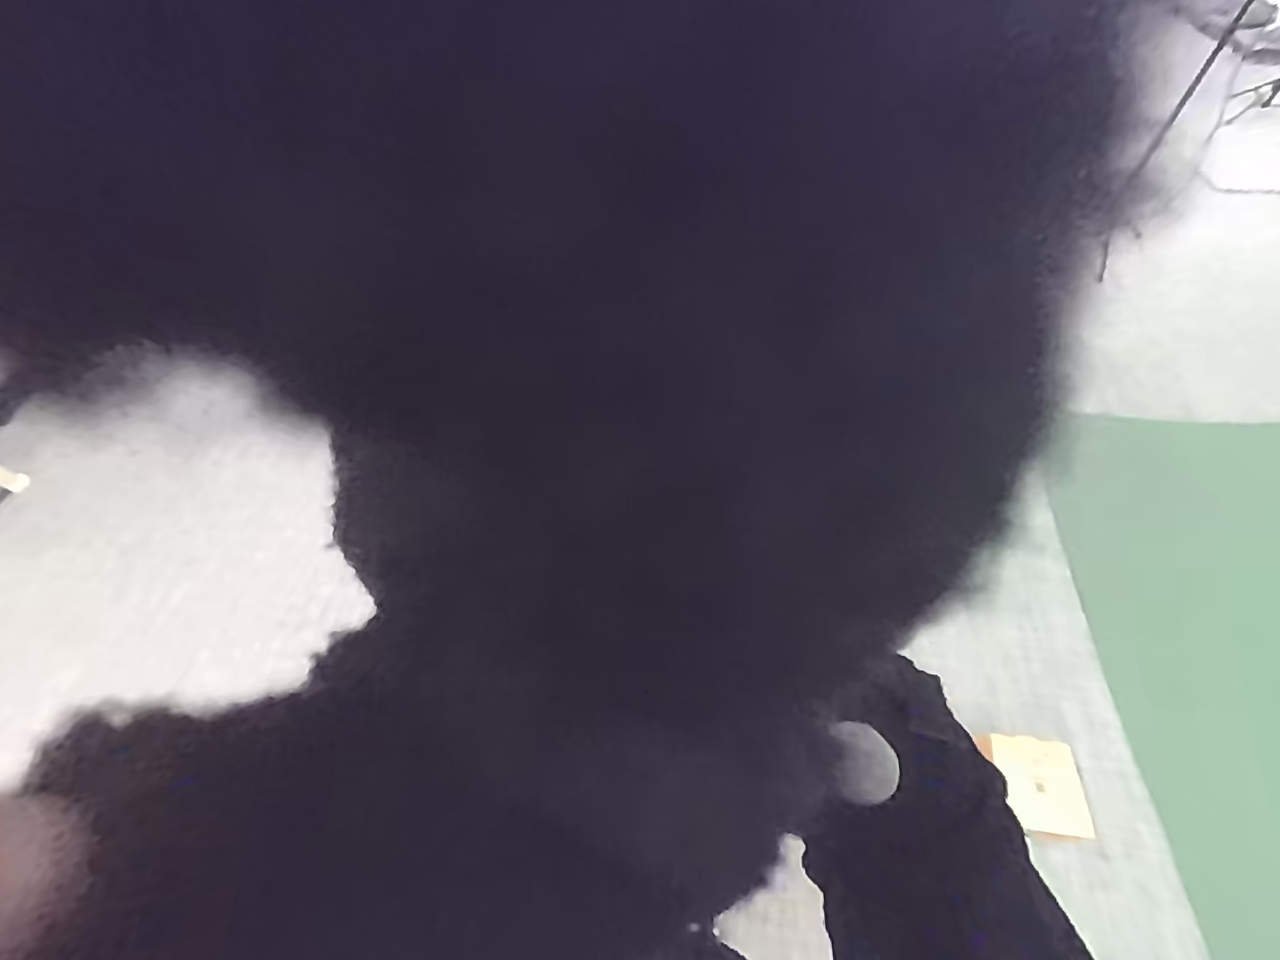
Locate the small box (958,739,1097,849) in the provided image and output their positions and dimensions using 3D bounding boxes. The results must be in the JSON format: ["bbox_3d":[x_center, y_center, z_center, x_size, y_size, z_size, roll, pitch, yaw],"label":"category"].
[{"bbox_3d":[0.821,0.681,1.167,0.168,0.176,0.179,6,54,6],"label":"small box"}]
